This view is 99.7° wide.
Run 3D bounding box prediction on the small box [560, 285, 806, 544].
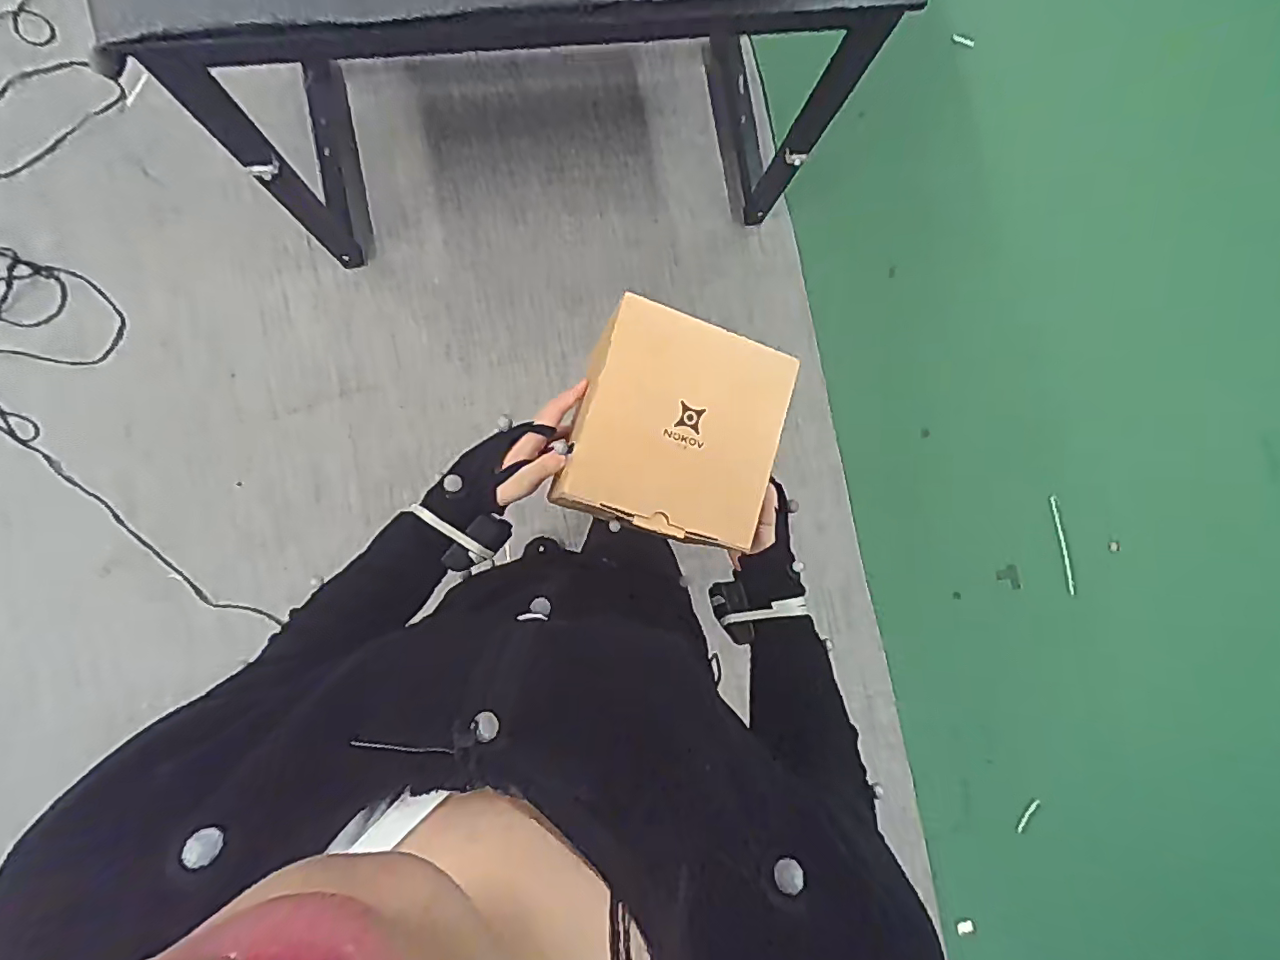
[{"bbox_3d":[0.027,-0.048,0.517,0.168,0.176,0.179,17,83,-12],"label":"small box"}]
